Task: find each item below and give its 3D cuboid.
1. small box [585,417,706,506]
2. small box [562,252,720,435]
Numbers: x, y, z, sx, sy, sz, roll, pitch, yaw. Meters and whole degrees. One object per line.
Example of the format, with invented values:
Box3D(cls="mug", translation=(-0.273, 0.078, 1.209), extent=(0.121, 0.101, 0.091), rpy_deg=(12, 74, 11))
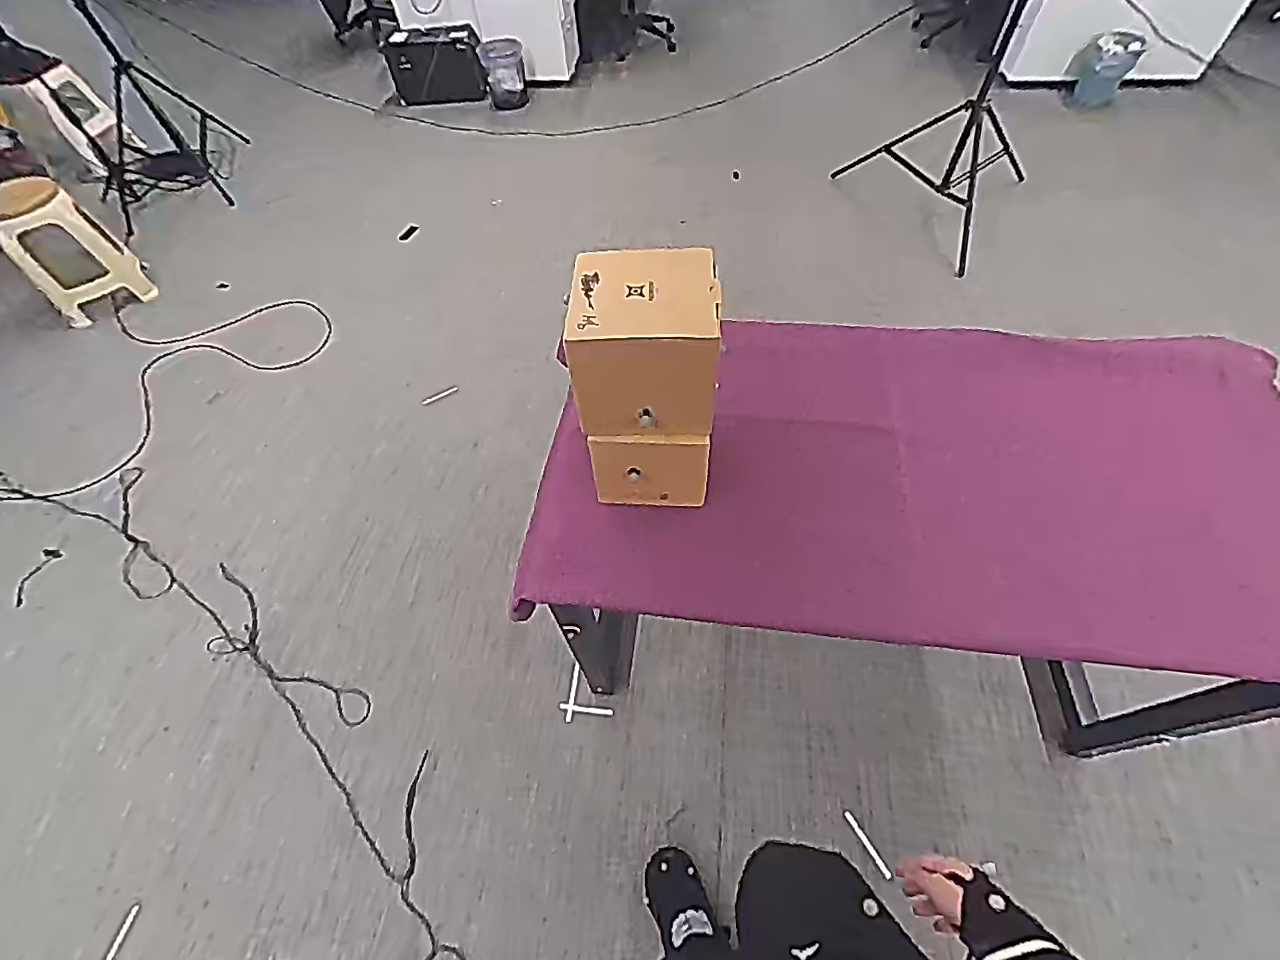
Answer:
Box3D(cls="small box", translation=(0.017, -0.073, 0.834), extent=(0.168, 0.176, 0.179), rpy_deg=(2, 56, 4))
Box3D(cls="small box", translation=(0.005, -0.171, 0.702), extent=(0.179, 0.176, 0.168), rpy_deg=(1, 55, 3))
